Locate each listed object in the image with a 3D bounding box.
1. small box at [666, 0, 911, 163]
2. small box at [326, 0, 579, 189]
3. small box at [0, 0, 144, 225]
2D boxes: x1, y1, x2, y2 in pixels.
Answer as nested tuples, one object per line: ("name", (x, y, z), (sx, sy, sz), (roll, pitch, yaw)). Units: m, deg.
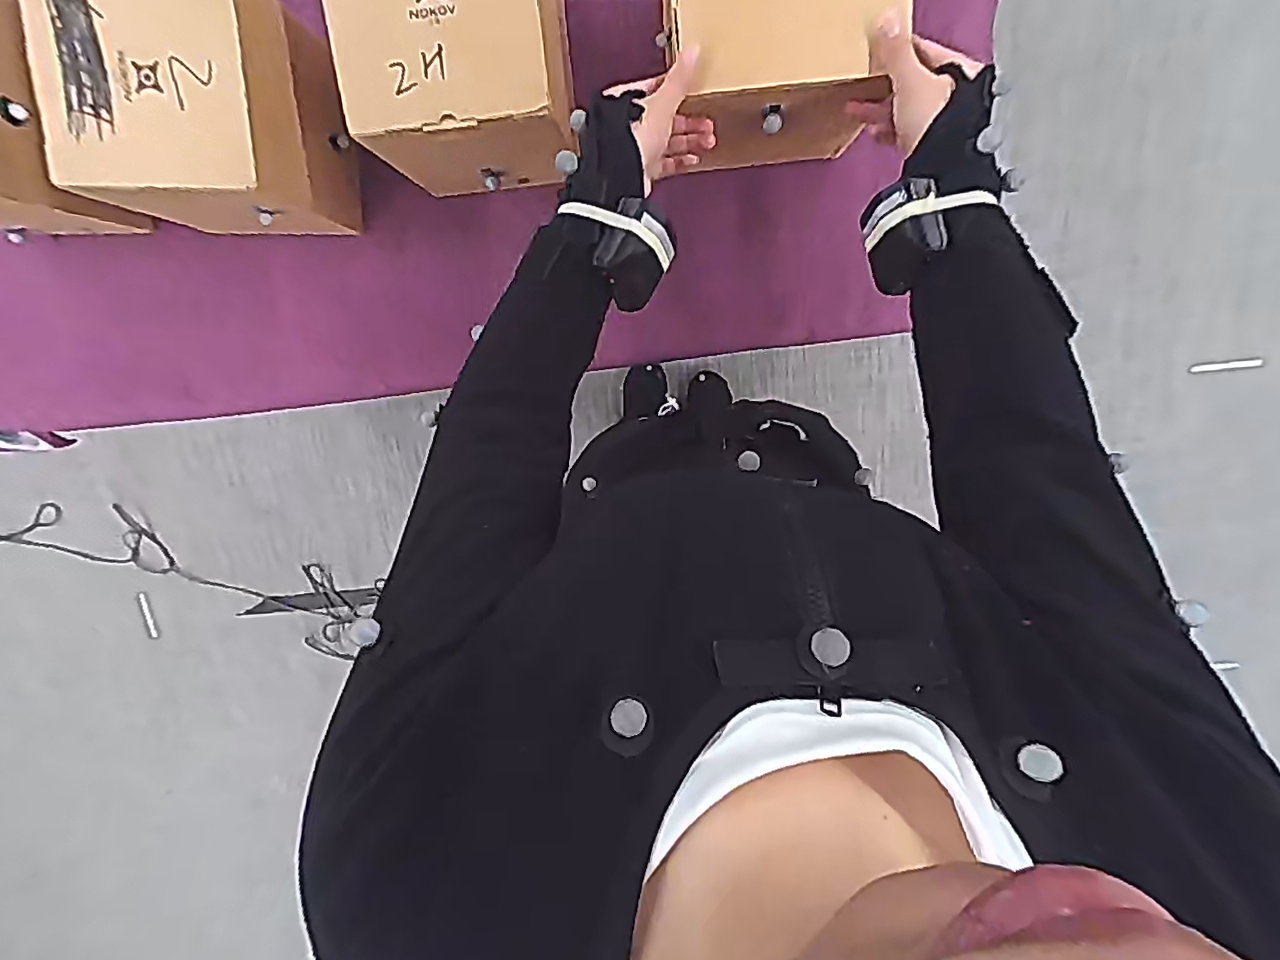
("small box", (0.114, -0.400, 0.471), (0.179, 0.176, 0.168), (-4, 102, 4))
("small box", (-0.154, -0.387, 0.484), (0.168, 0.176, 0.179), (-4, 103, 4))
("small box", (-0.630, -0.349, 0.512), (0.168, 0.176, 0.179), (0, 103, 2))
